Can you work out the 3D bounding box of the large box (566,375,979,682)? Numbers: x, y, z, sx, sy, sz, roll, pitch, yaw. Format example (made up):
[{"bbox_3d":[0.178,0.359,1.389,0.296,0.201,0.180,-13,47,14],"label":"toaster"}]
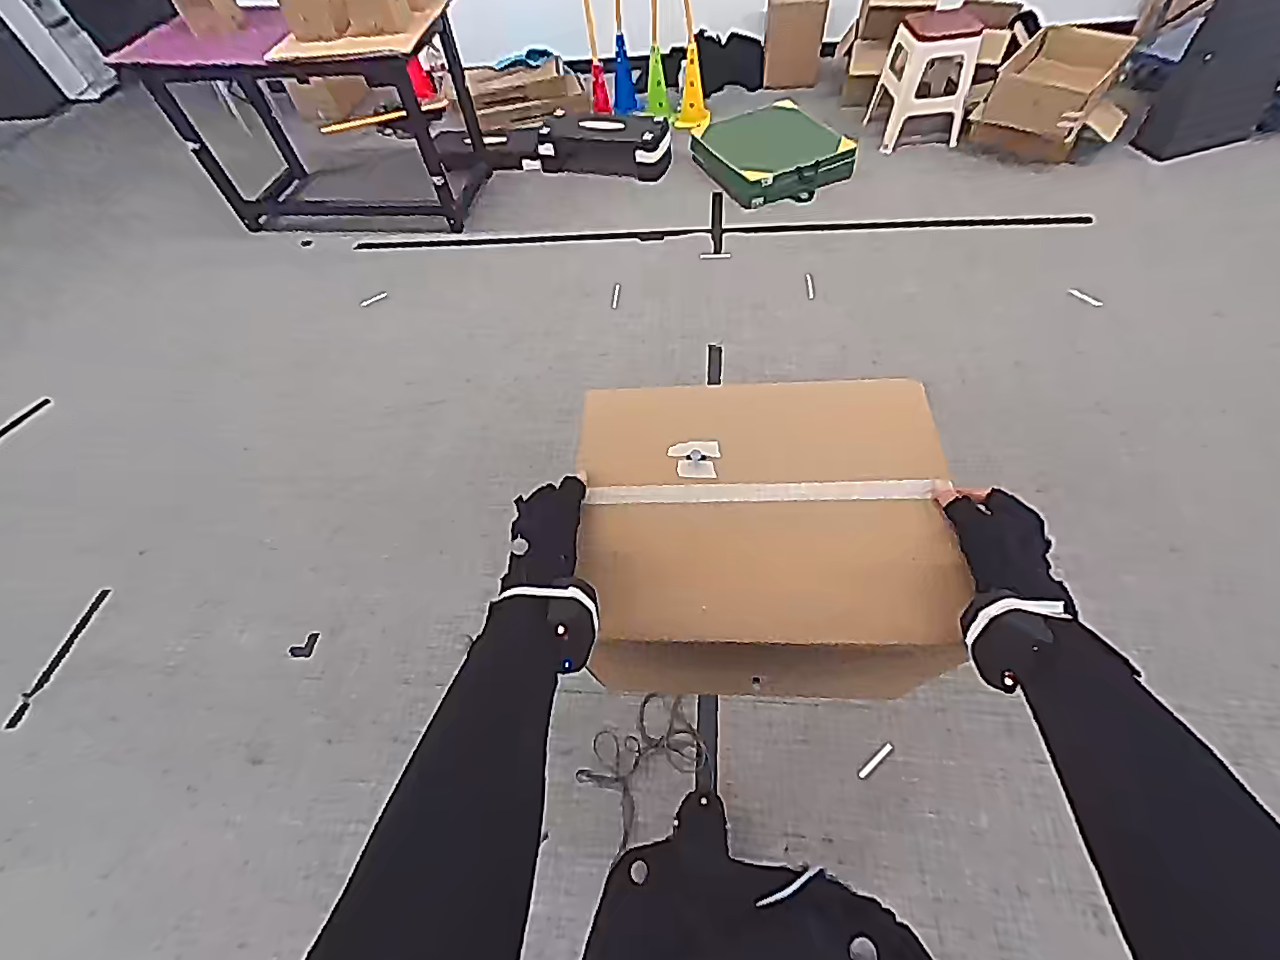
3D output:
[{"bbox_3d":[0.146,0.086,0.726,0.408,0.320,0.320,-1,59,8],"label":"large box"}]
